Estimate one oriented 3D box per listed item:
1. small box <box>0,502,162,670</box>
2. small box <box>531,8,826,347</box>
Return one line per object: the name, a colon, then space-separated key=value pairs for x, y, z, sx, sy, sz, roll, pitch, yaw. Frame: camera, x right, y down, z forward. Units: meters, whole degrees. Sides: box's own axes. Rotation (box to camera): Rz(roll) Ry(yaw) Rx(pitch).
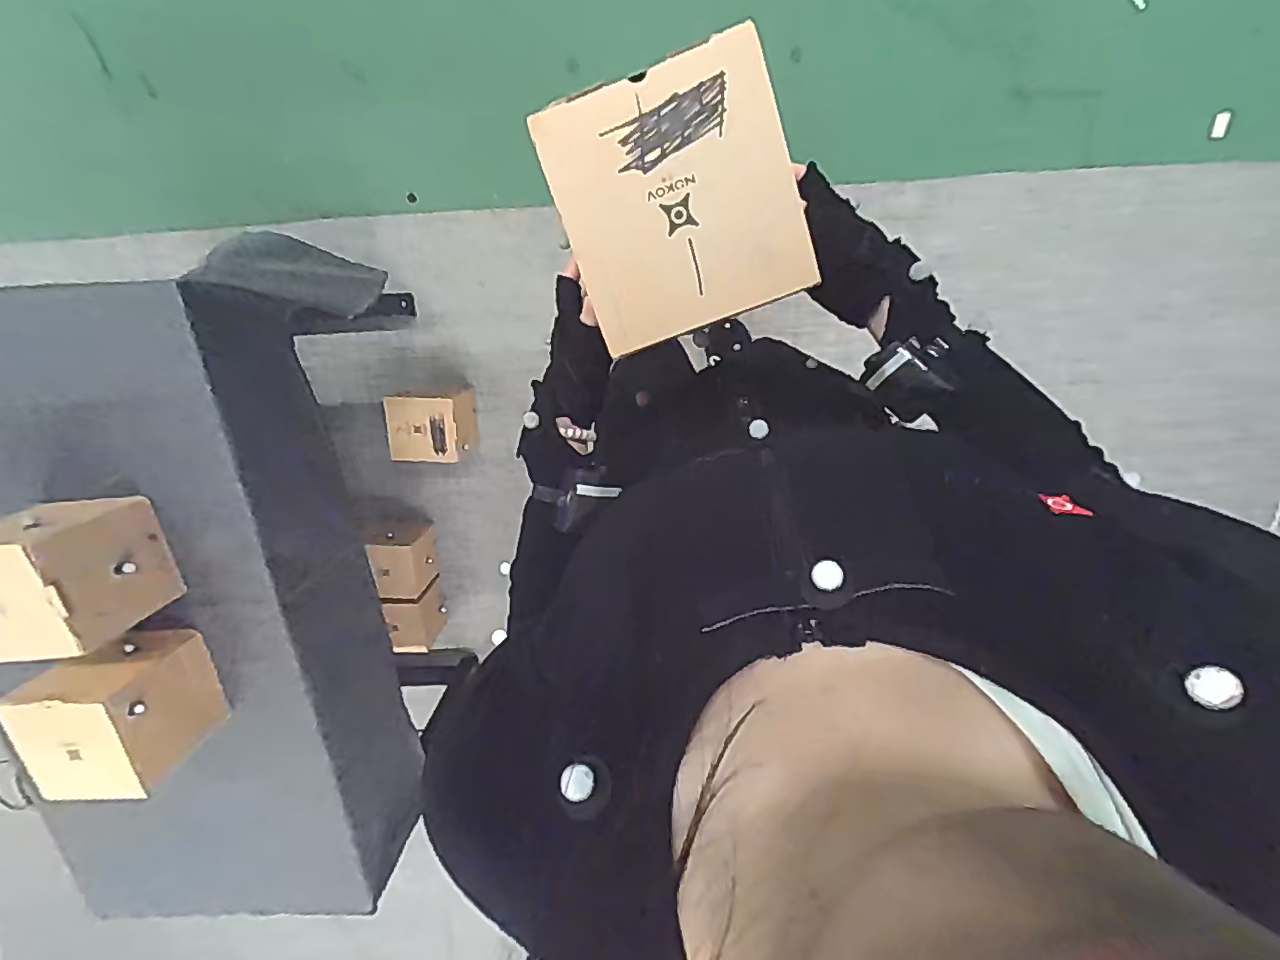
small box: x=-0.807 y=0.136 z=0.732 sx=0.179 sy=0.176 sz=0.168 roll=-5 pitch=108 yaw=3
small box: x=0.030 y=-0.218 z=0.448 sx=0.168 sy=0.176 sz=0.179 roll=-18 pitch=103 yaw=7
